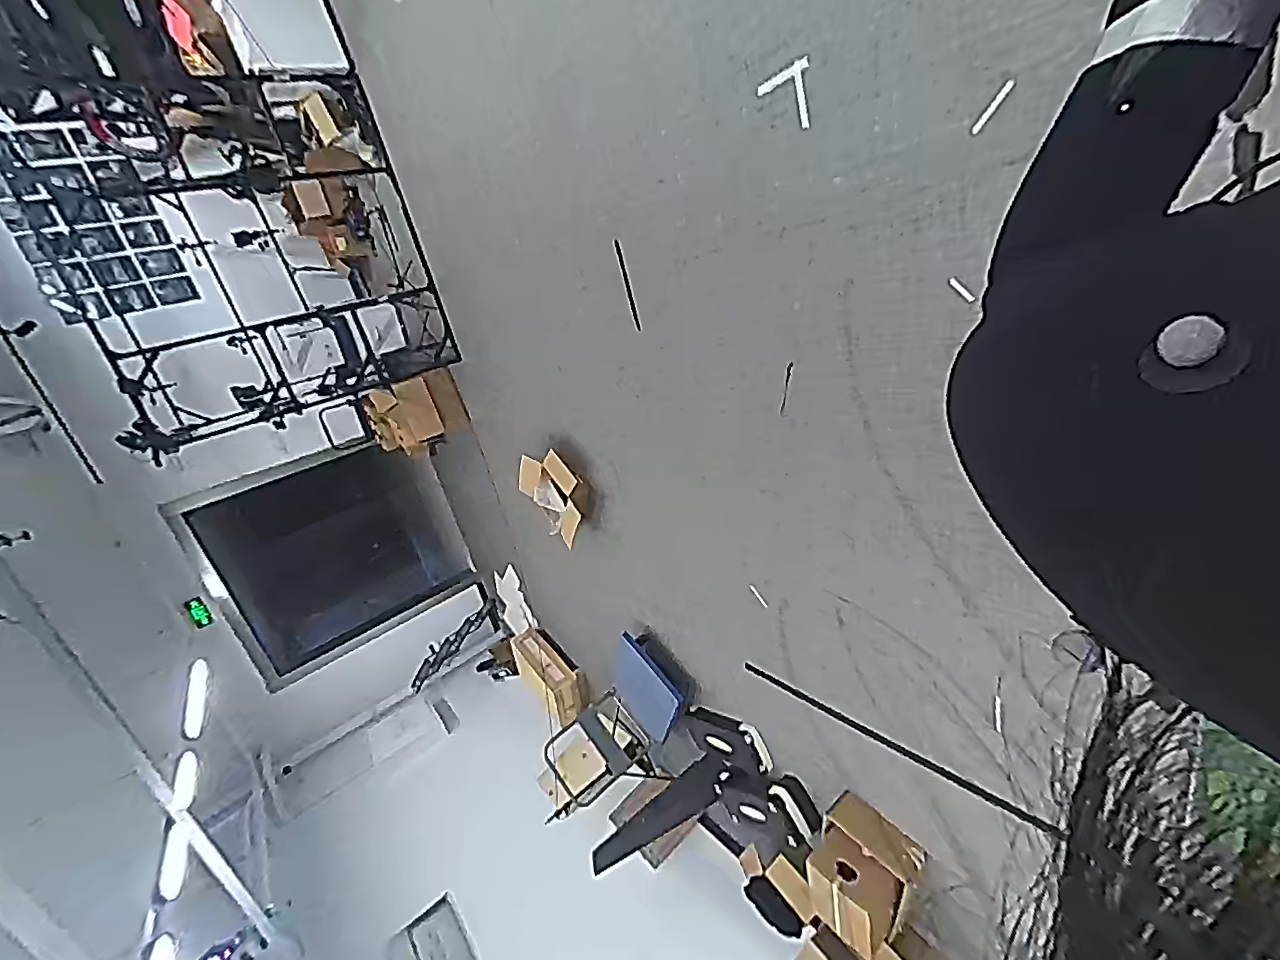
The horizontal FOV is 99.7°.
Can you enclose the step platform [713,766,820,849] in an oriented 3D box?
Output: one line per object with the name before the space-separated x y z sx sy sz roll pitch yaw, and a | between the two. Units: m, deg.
step platform | 0.707 1.884 3.136 0.286 0.204 0.684 60 148 6
